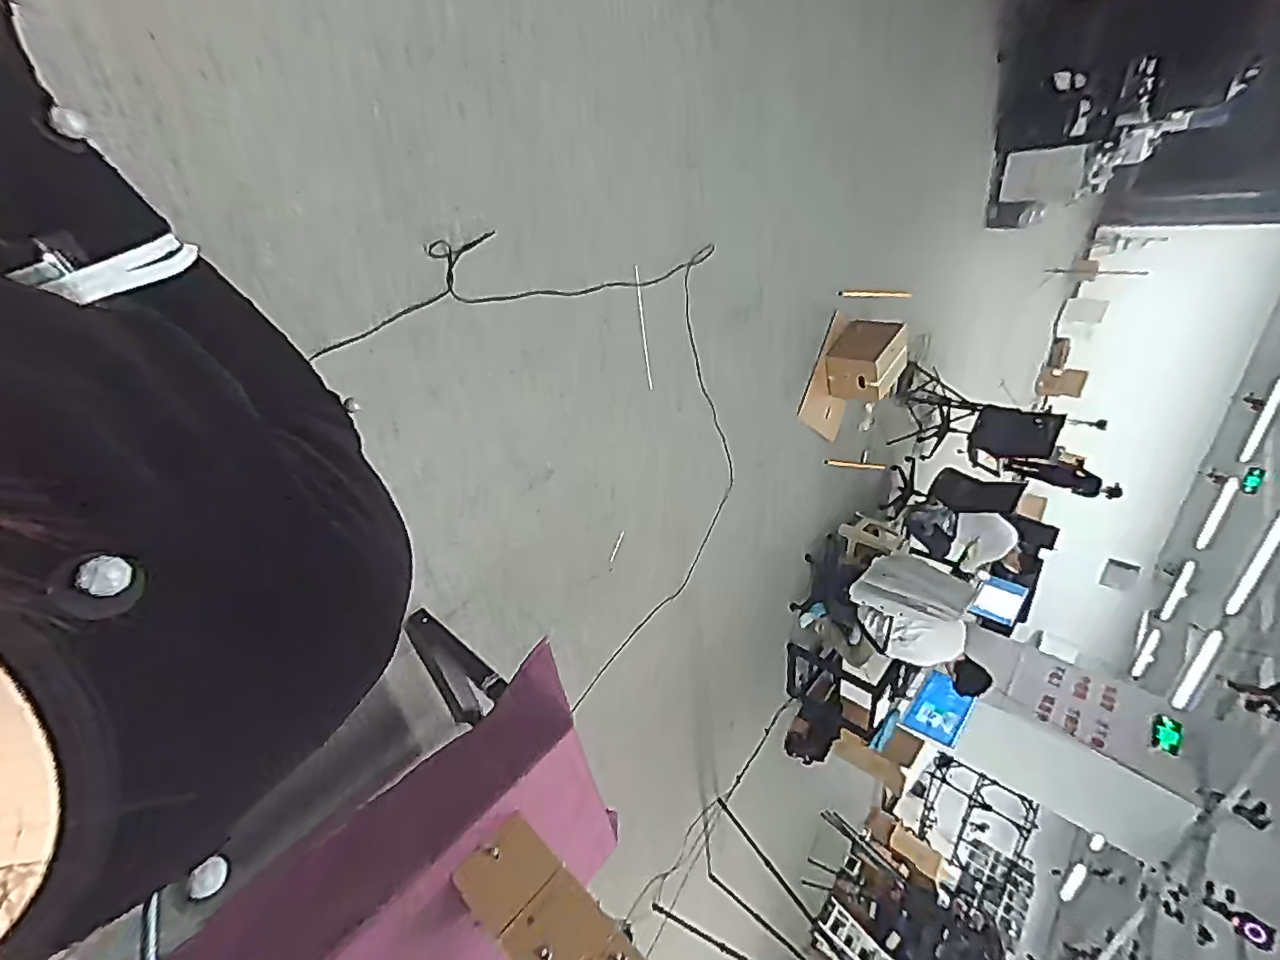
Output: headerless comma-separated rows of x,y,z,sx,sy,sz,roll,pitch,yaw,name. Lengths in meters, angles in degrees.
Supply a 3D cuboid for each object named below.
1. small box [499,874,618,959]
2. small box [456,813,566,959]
-0.151,0.920,1.048,0.168,0.176,0.179,-31,128,-36,small box
-0.268,0.868,1.151,0.179,0.176,0.168,-33,129,-35,small box
